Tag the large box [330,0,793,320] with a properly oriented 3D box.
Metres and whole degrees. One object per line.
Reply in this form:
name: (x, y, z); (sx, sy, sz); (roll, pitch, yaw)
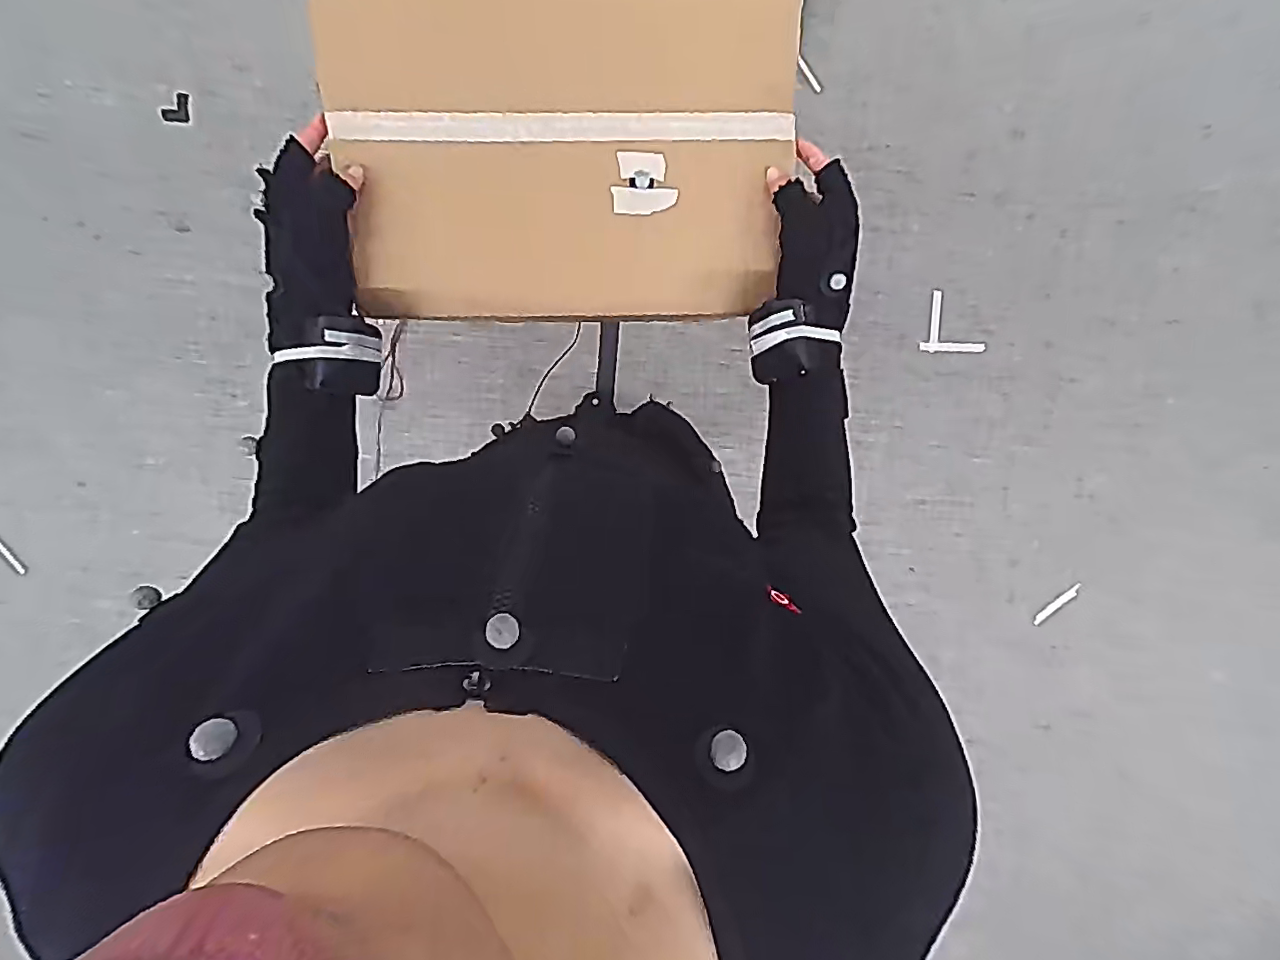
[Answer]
large box: (-0.071, -0.357, 0.631); (0.408, 0.320, 0.320); (-2, 106, -3)
